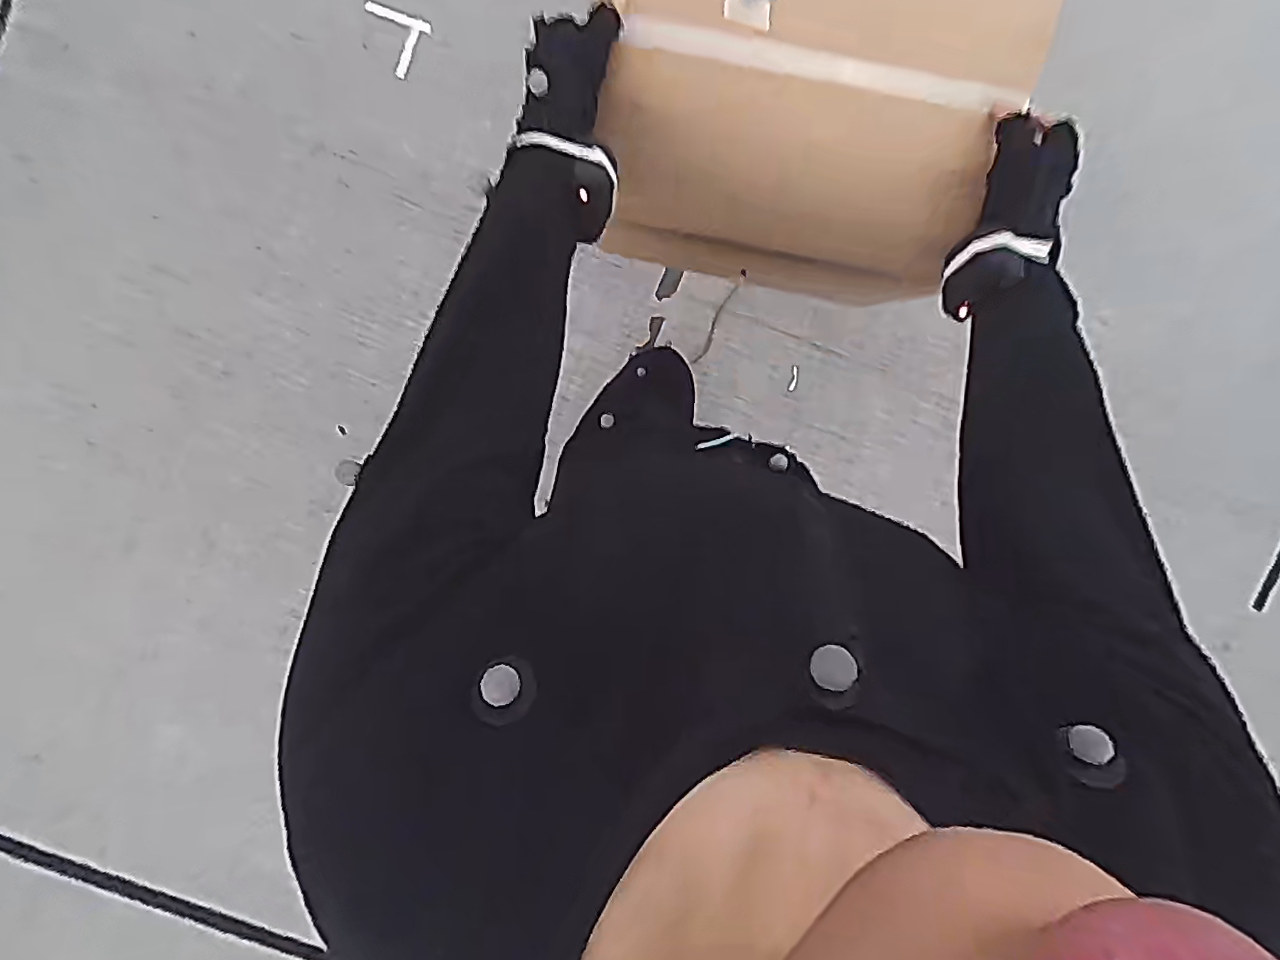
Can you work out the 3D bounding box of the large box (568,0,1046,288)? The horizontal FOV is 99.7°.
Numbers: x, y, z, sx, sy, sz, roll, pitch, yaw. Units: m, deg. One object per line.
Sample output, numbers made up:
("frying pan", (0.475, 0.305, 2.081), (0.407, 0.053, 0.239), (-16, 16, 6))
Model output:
("large box", (0.159, -0.428, 0.642), (0.408, 0.320, 0.320), (12, 105, 0))
